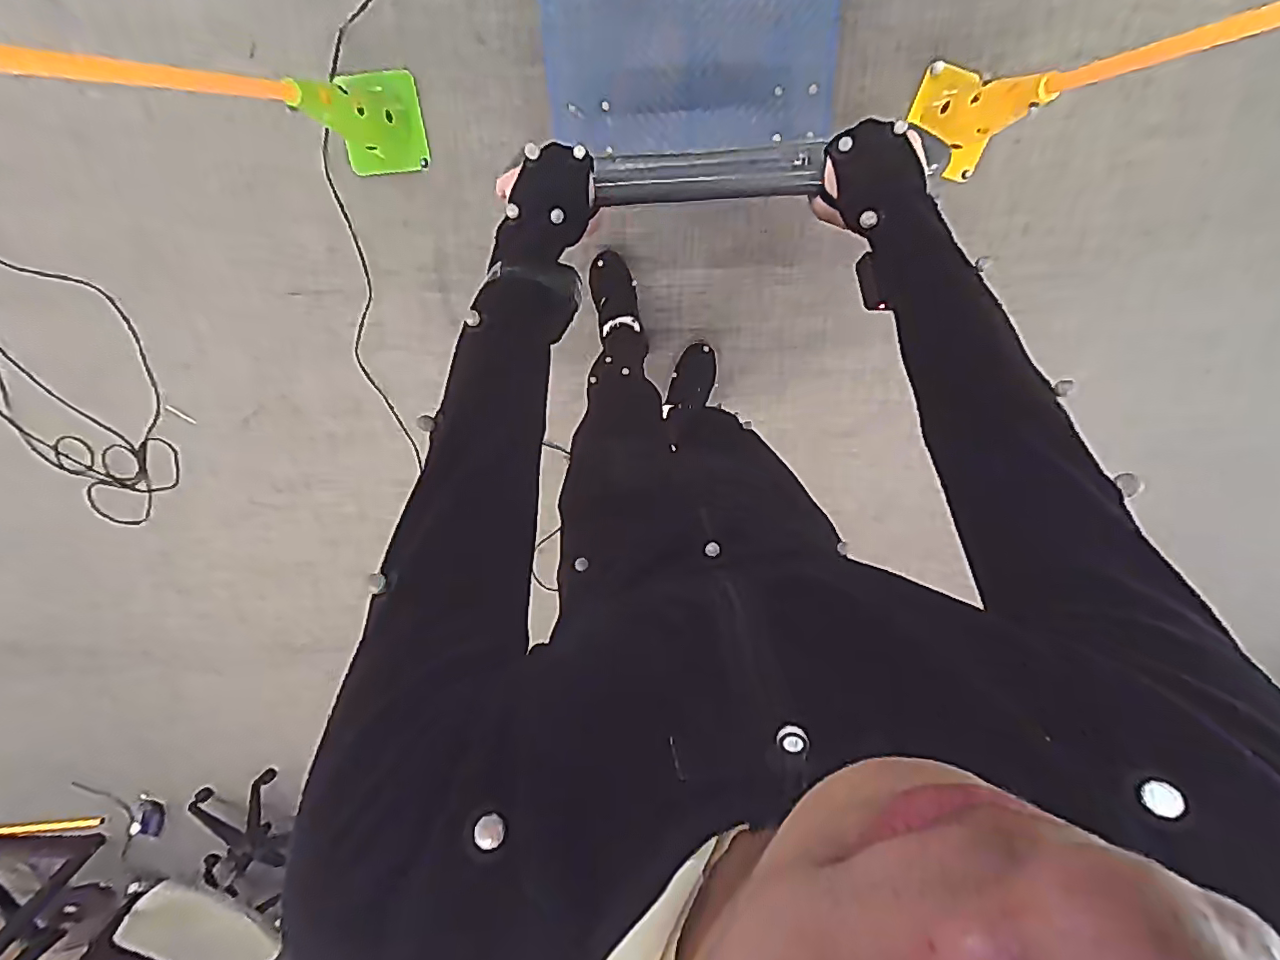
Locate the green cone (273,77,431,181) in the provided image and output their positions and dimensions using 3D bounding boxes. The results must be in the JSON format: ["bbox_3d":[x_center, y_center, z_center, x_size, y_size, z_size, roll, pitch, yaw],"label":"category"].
[{"bbox_3d":[-0.625,-0.765,1.135,0.202,0.368,0.200,-3,114,6],"label":"green cone"}]
